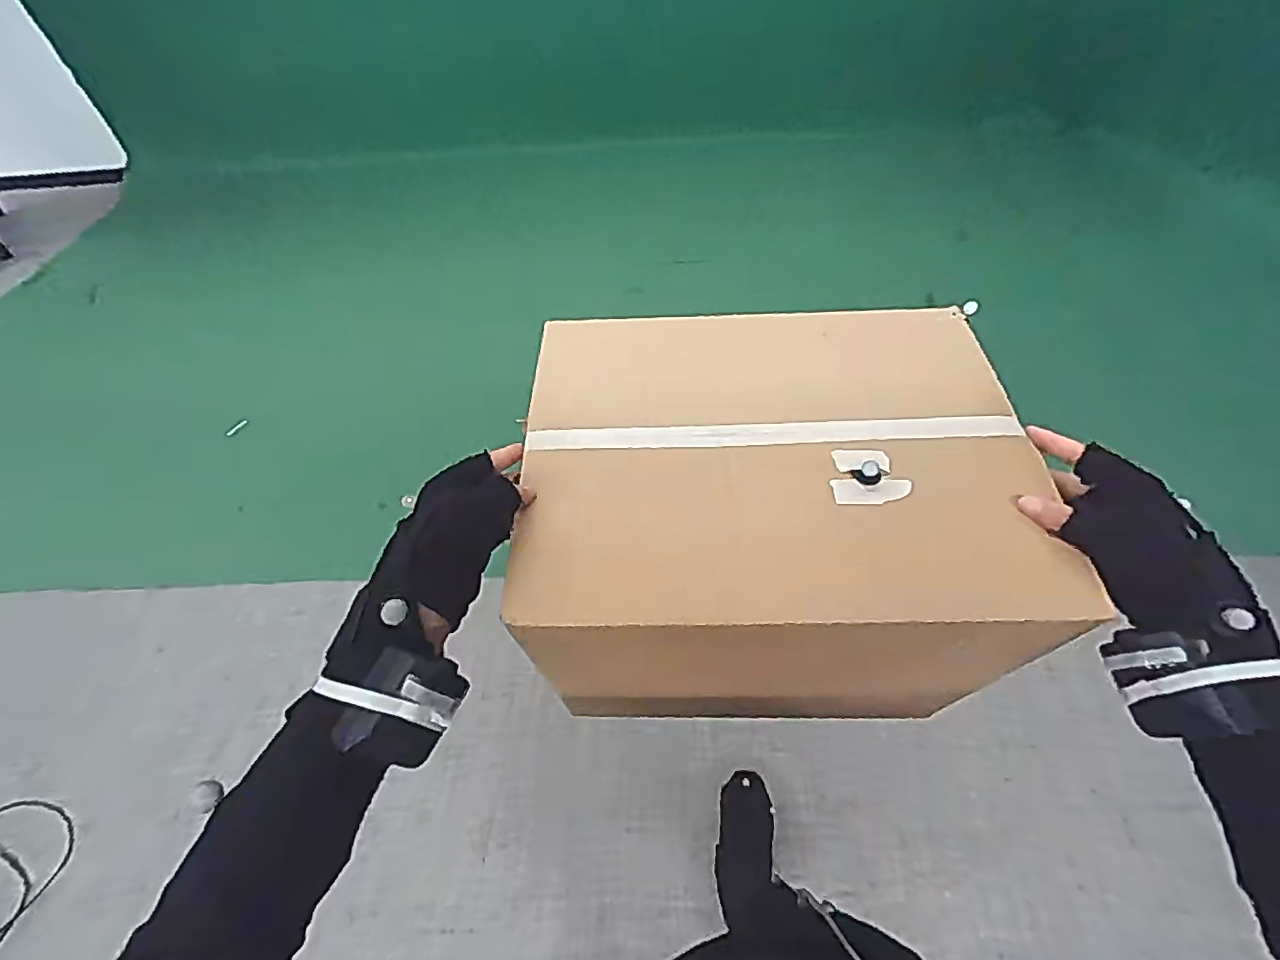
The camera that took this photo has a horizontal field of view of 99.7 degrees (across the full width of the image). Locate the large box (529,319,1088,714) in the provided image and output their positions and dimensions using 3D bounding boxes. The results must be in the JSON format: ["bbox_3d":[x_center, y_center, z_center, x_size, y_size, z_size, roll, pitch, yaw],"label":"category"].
[{"bbox_3d":[0.118,0.054,0.585,0.408,0.320,0.320,-1,56,1],"label":"large box"}]
